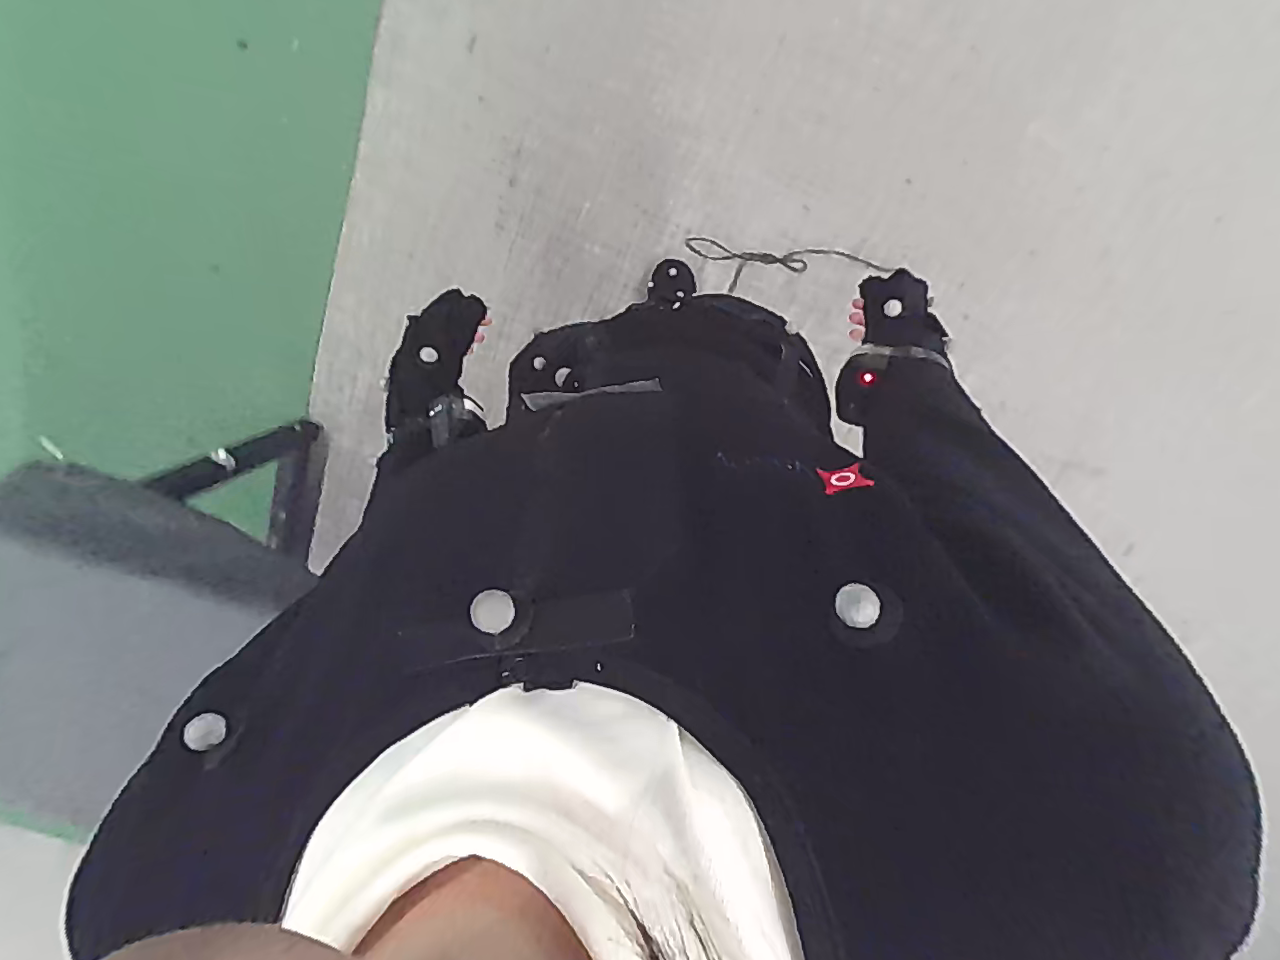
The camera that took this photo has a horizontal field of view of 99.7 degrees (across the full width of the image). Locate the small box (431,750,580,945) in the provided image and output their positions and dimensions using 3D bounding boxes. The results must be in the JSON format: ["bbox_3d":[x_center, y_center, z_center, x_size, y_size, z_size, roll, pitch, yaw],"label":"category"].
[{"bbox_3d":[-0.199,0.559,0.838,0.168,0.176,0.179,17,114,-1],"label":"small box"}]
